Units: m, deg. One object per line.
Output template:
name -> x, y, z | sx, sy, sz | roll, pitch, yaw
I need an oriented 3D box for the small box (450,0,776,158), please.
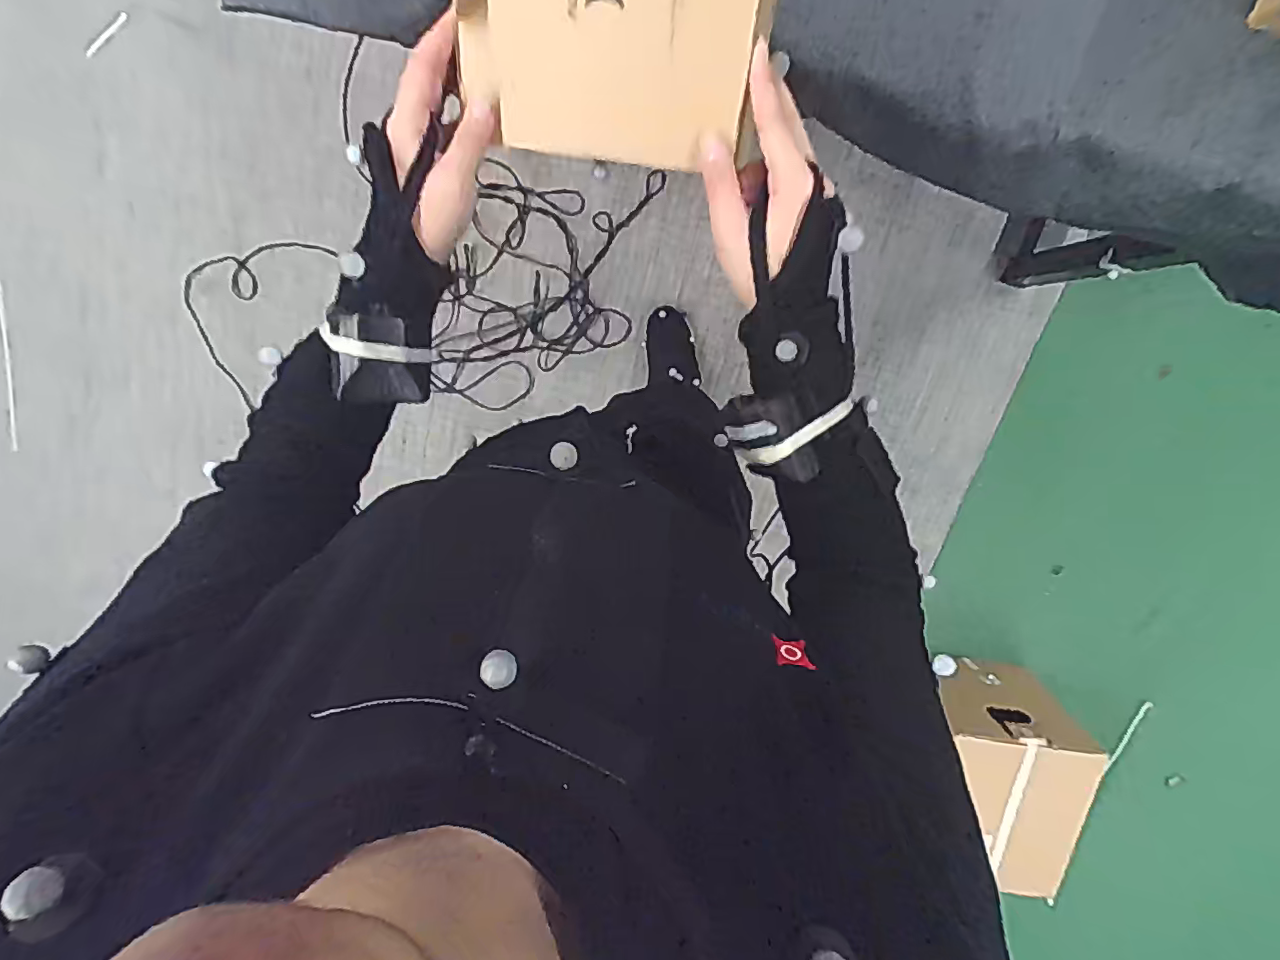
small box -> -0.004, -0.312, 0.349 | 0.179, 0.176, 0.168 | 10, 122, 7
